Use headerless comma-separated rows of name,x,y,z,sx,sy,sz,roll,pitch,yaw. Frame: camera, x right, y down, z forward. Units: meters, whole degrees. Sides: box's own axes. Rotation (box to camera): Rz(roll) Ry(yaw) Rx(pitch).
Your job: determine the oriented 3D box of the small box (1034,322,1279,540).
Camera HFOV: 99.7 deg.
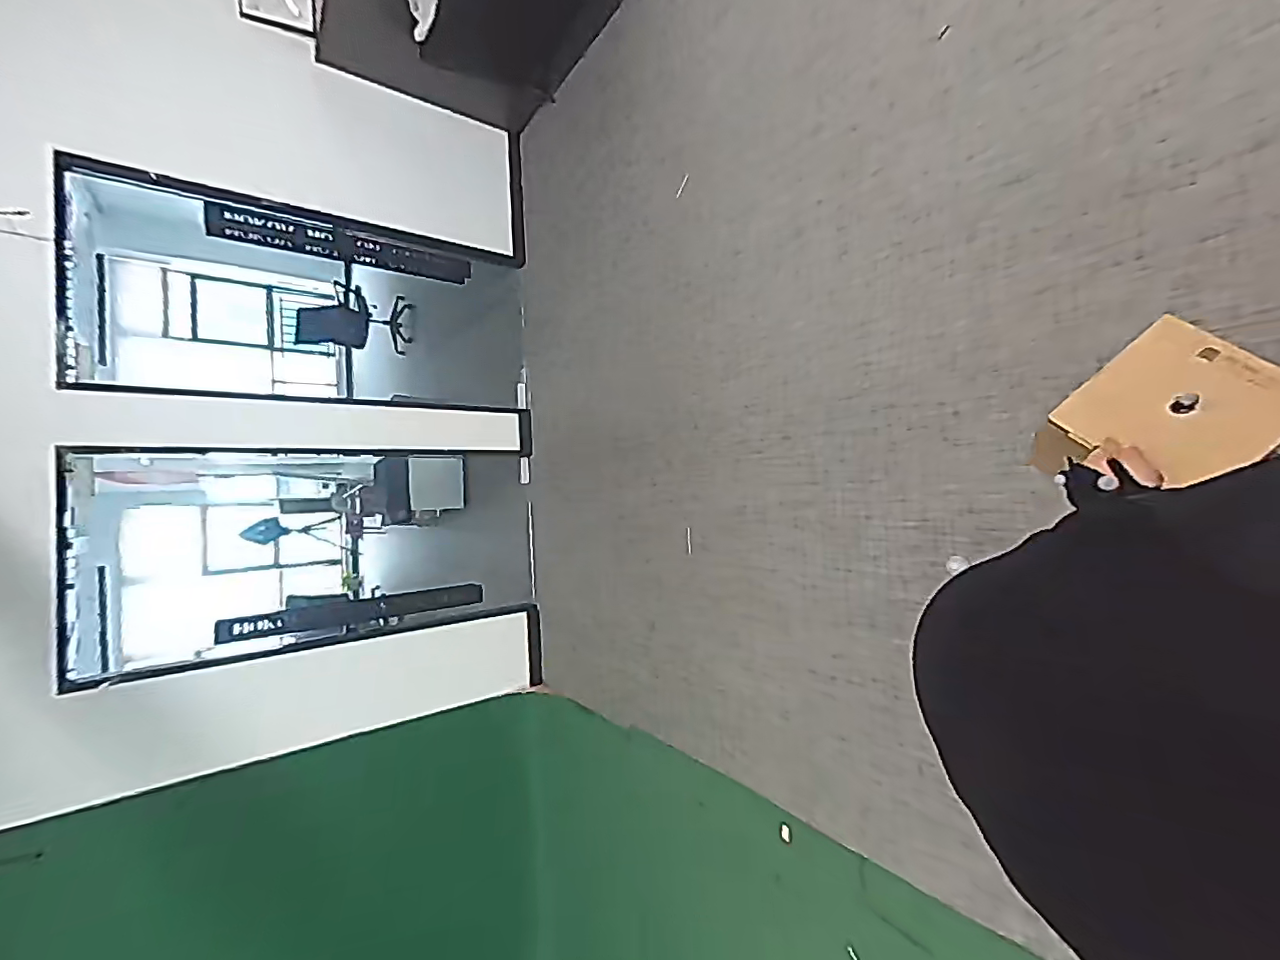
small box,0.629,-0.056,0.653,0.176,0.179,0.168,-46,58,8
